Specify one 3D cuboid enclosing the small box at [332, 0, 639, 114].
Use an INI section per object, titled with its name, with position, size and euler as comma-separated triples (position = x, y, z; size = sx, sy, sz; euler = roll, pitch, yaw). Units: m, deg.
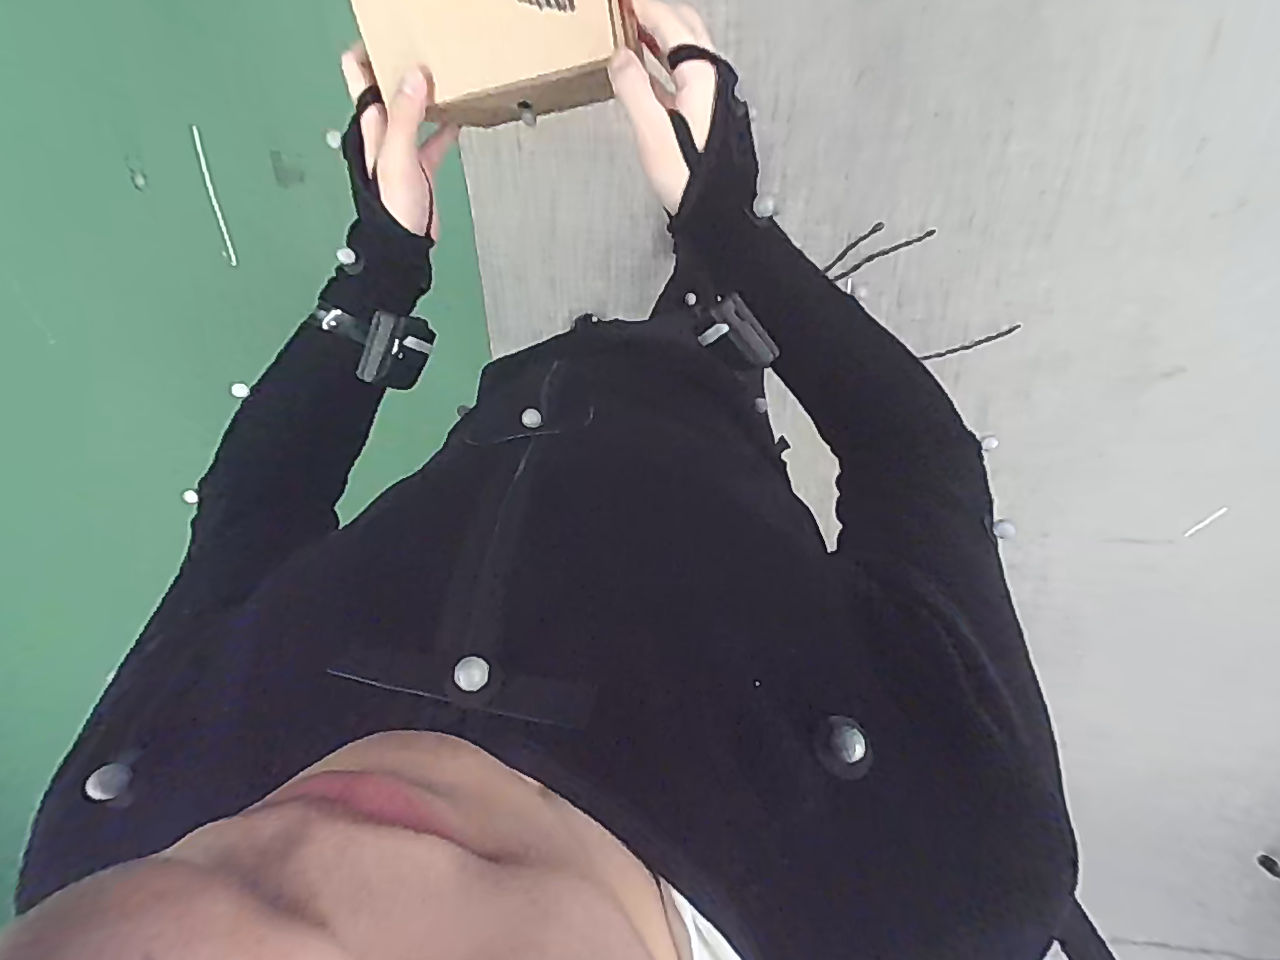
[small box]
position = -0.101, -0.369, 0.378
size = 0.179, 0.176, 0.168
euler = -1, 120, 12
